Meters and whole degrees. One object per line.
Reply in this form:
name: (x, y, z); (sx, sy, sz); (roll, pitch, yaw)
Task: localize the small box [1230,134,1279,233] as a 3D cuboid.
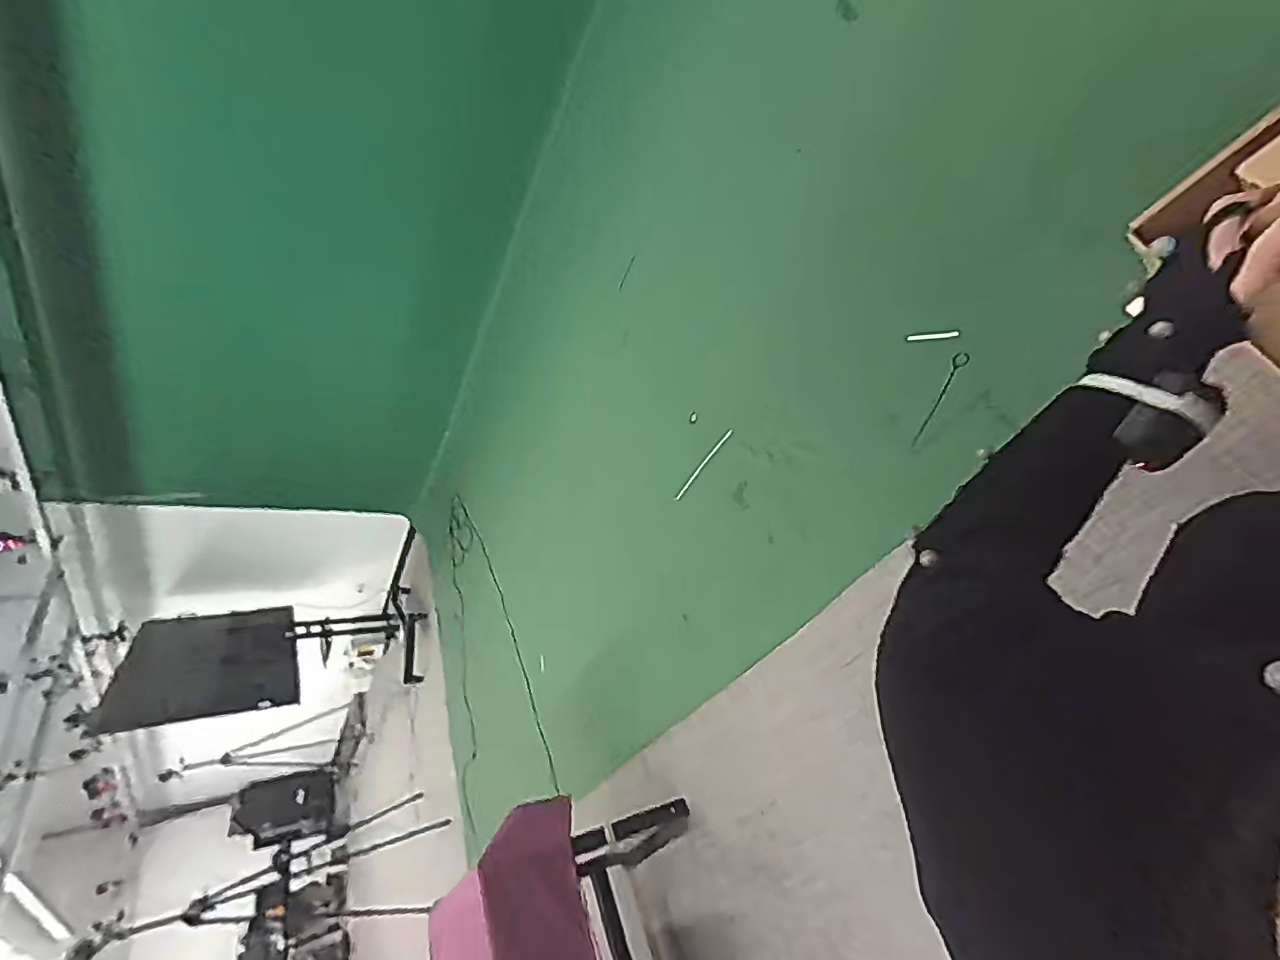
small box: (0.945, -0.397, 0.698); (0.179, 0.176, 0.168); (-45, 53, 43)
